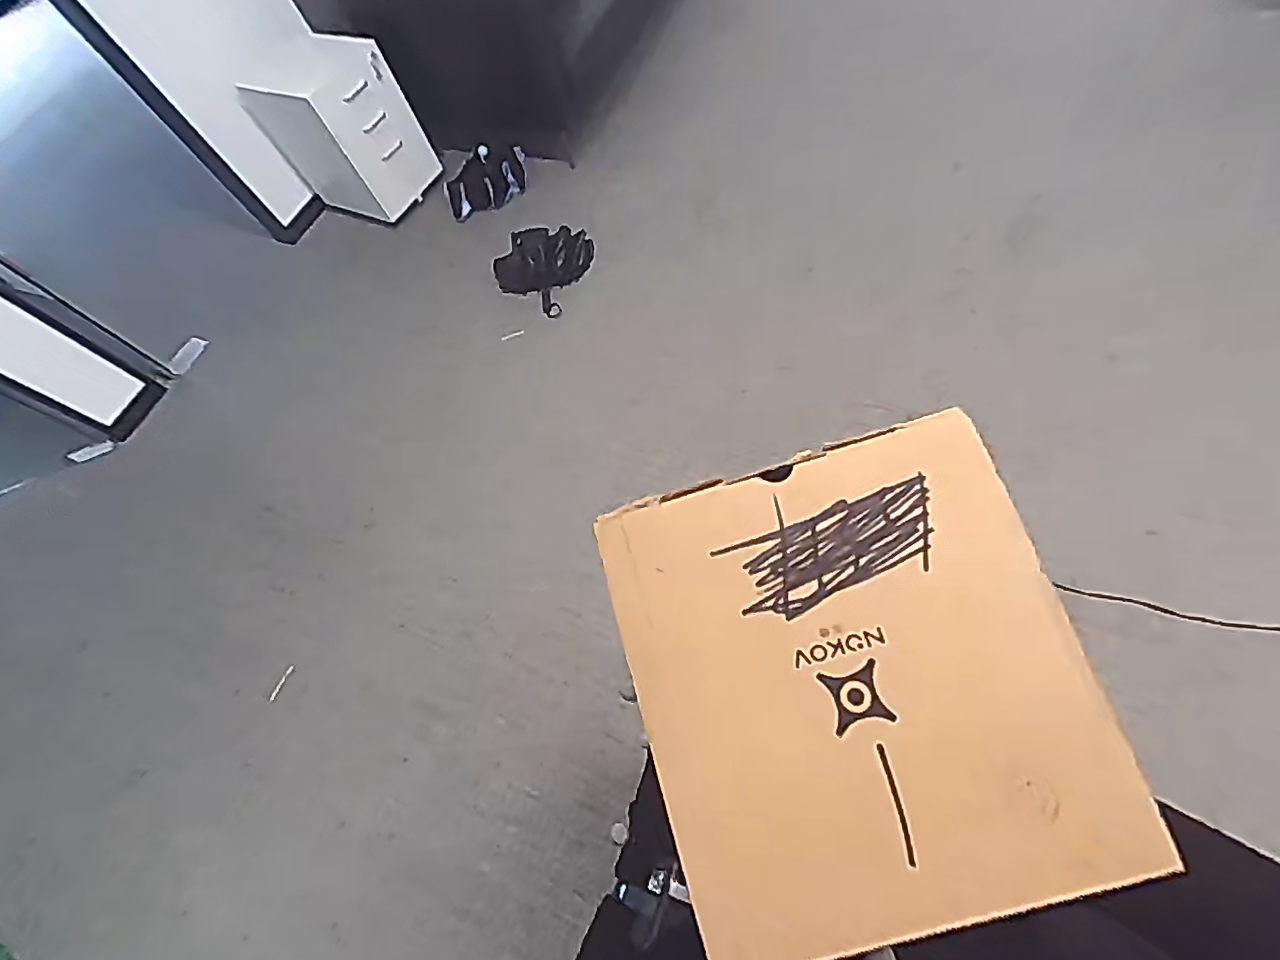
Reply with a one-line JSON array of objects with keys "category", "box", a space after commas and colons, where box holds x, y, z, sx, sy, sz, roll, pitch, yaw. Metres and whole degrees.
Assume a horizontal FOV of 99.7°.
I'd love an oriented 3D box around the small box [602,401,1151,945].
[{"category": "small box", "box": [0.090, 0.086, 0.293, 0.168, 0.176, 0.179, -18, 75, 3]}]
